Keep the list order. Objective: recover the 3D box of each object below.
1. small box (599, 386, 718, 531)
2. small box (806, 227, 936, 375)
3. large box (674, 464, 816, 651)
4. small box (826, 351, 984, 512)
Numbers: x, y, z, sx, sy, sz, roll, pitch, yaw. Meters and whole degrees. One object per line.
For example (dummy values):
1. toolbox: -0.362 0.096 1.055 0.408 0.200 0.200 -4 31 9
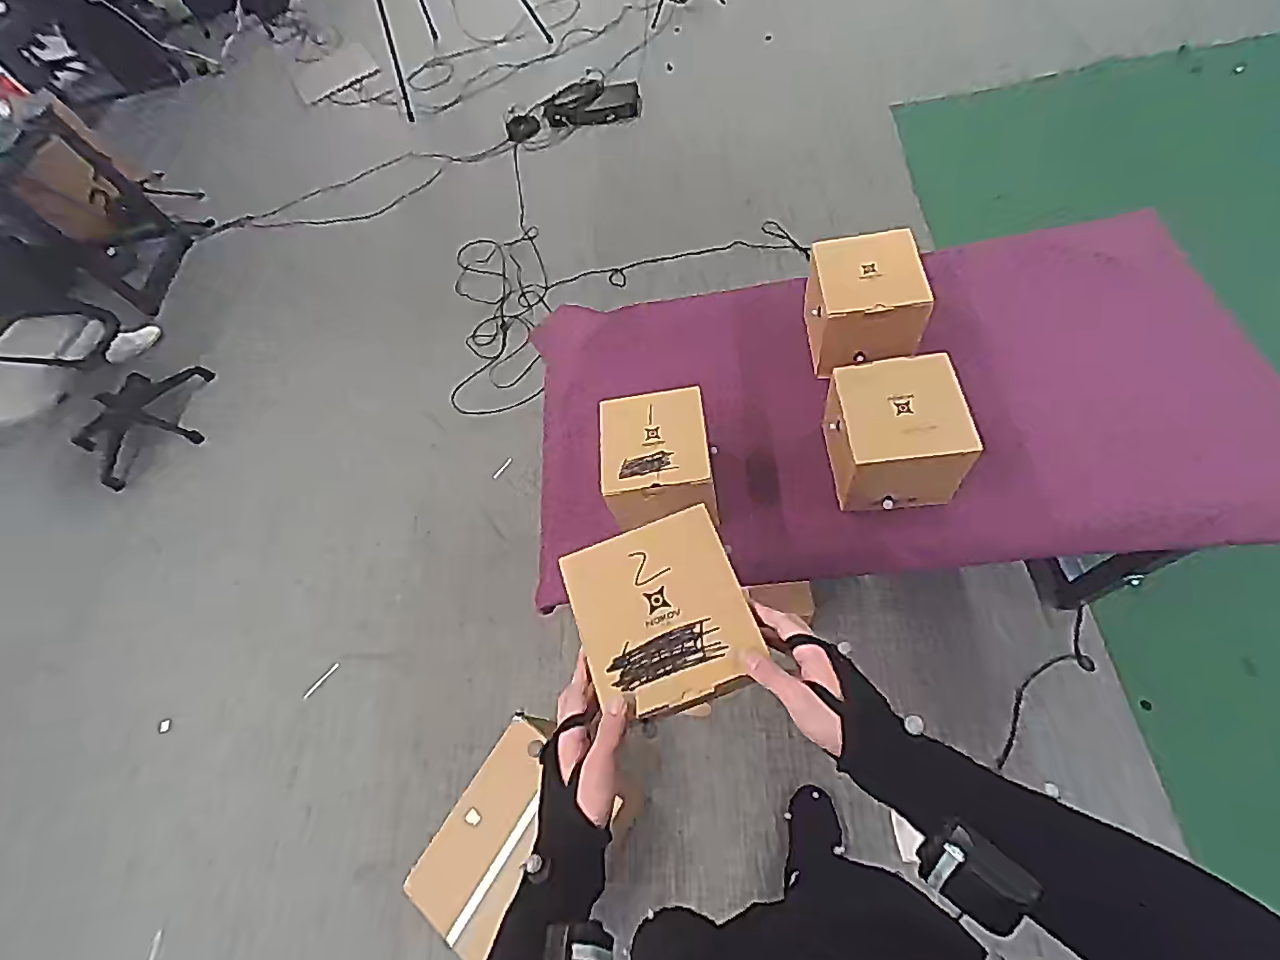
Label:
1. small box: 0.033 -0.025 0.887 0.168 0.176 0.179 -8 60 8
2. small box: 0.395 -0.311 0.959 0.168 0.176 0.179 -5 63 10
3. large box: 0.272 0.221 1.468 0.320 0.320 0.408 -7 60 9
4. small box: 0.388 -0.068 0.831 0.168 0.176 0.179 -6 61 11
